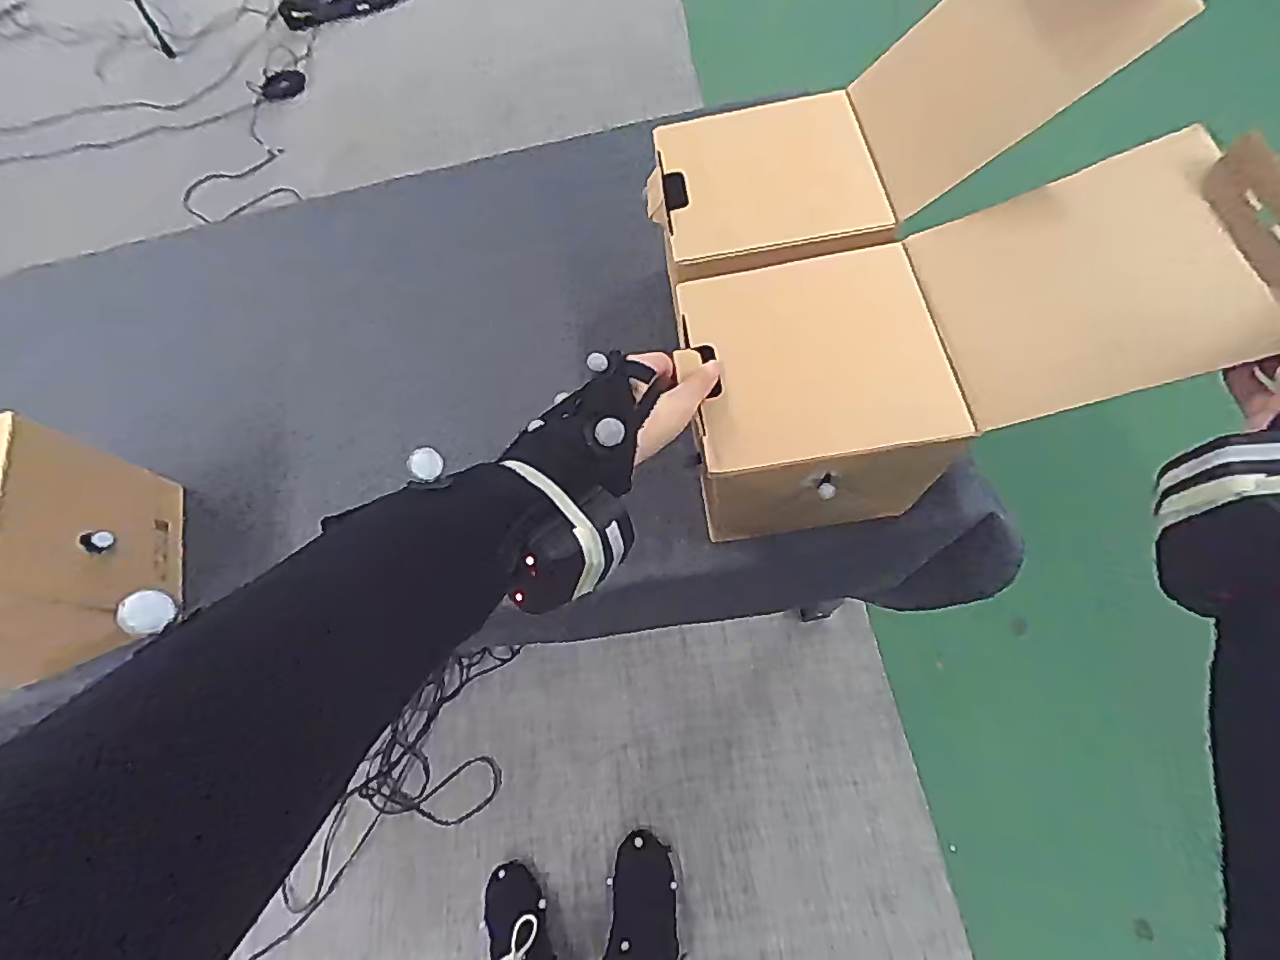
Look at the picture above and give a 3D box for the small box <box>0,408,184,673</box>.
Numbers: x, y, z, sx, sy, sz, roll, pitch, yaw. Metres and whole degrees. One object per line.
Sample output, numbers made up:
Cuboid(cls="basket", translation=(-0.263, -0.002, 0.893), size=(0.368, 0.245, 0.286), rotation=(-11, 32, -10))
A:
Cuboid(cls="small box", translation=(-0.573, 0.067, 0.502), size=(0.179, 0.176, 0.168), rotation=(-22, 65, -1))
